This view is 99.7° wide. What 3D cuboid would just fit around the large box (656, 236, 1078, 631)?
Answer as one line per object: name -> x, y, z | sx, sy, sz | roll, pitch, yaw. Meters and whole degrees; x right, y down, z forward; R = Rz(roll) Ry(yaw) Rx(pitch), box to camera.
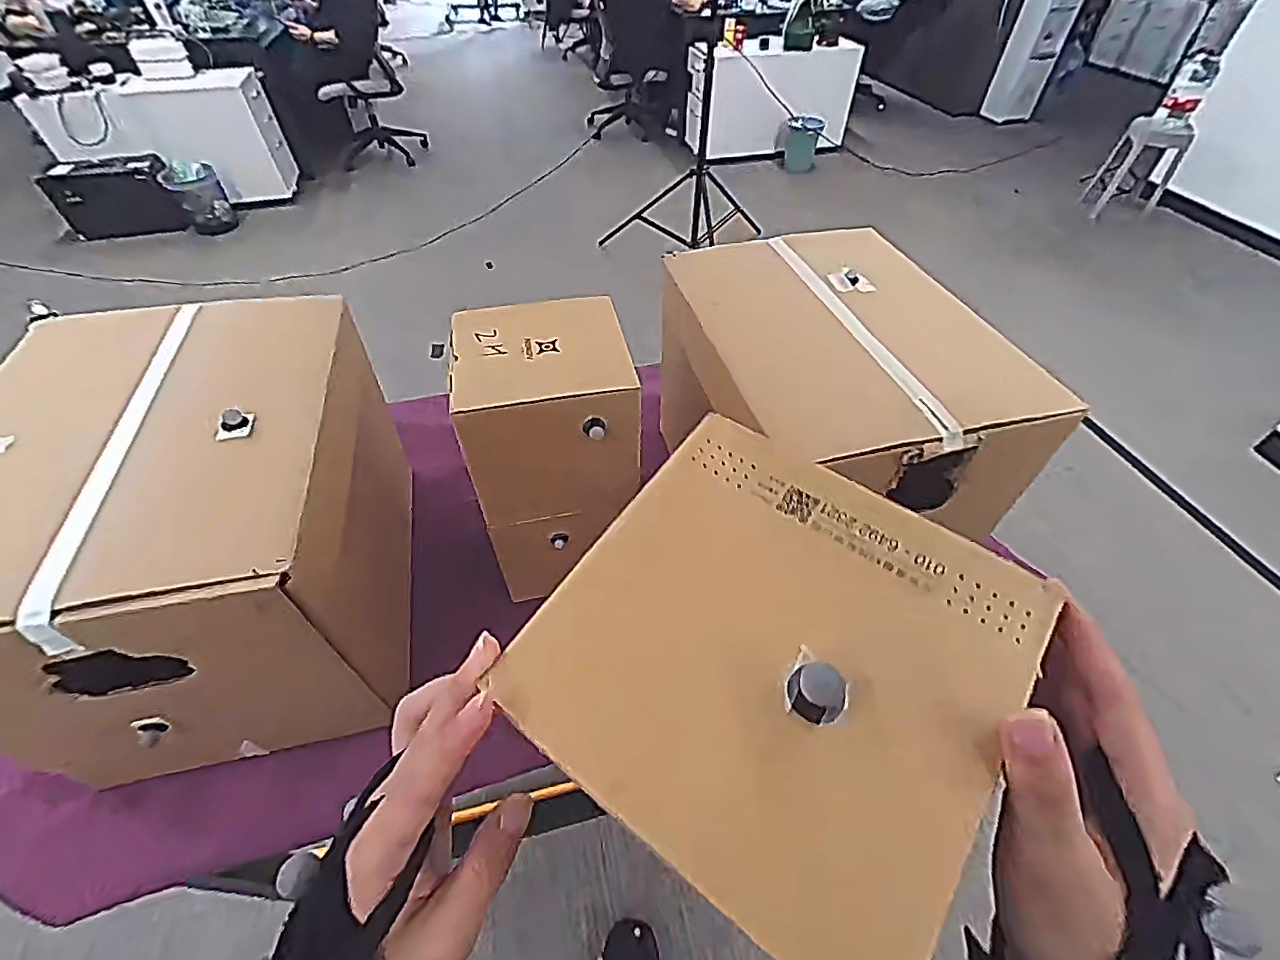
large box -> 0.223, -0.075, 0.724 | 0.320, 0.320, 0.408 | -11, 48, -10
